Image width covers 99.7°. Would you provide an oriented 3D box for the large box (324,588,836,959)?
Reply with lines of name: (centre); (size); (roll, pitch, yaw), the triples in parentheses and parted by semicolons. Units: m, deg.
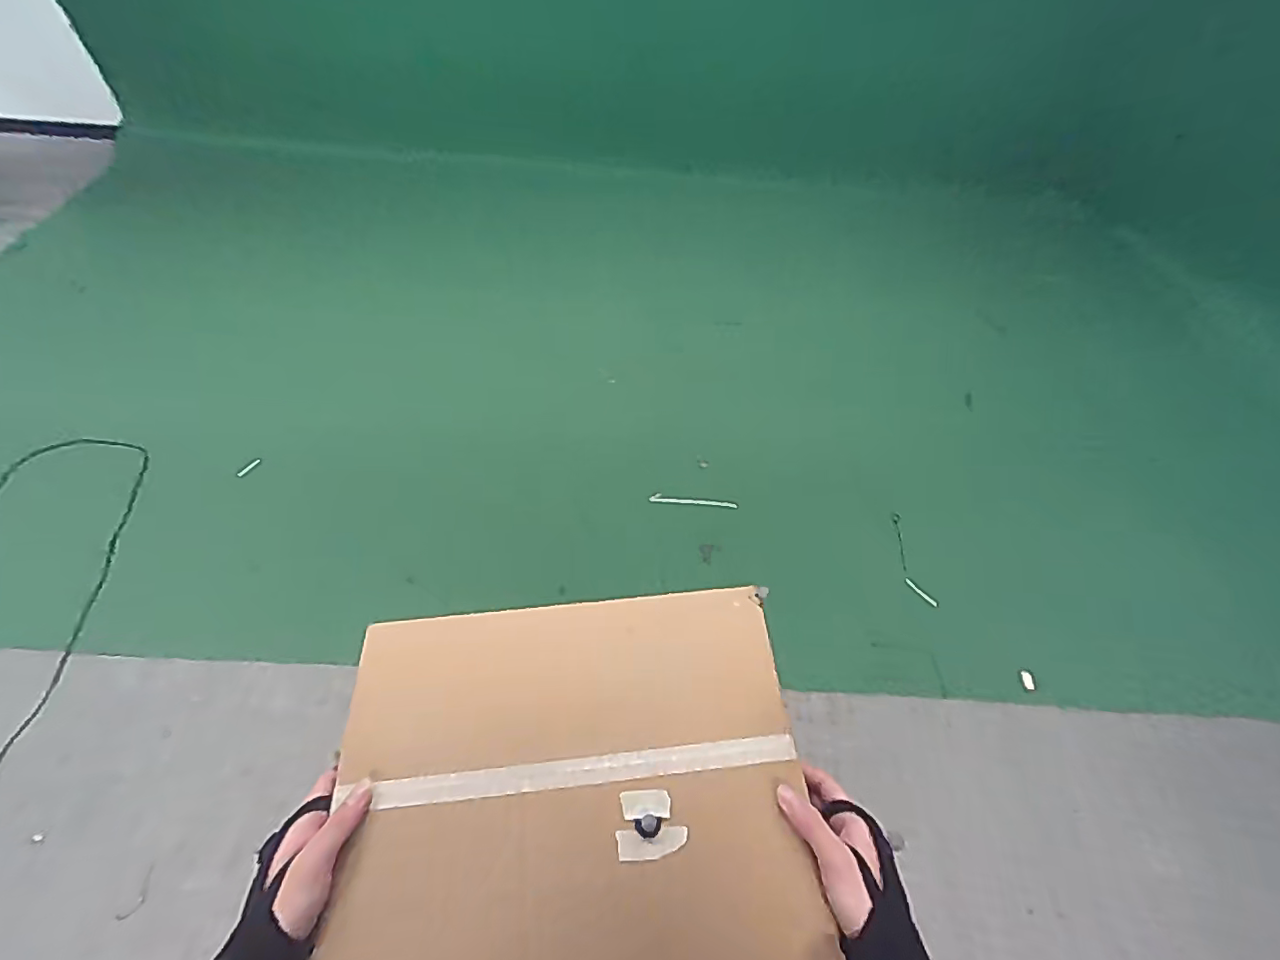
large box: (-0.060, 0.348, 0.613); (0.408, 0.320, 0.320); (-5, 55, -3)
